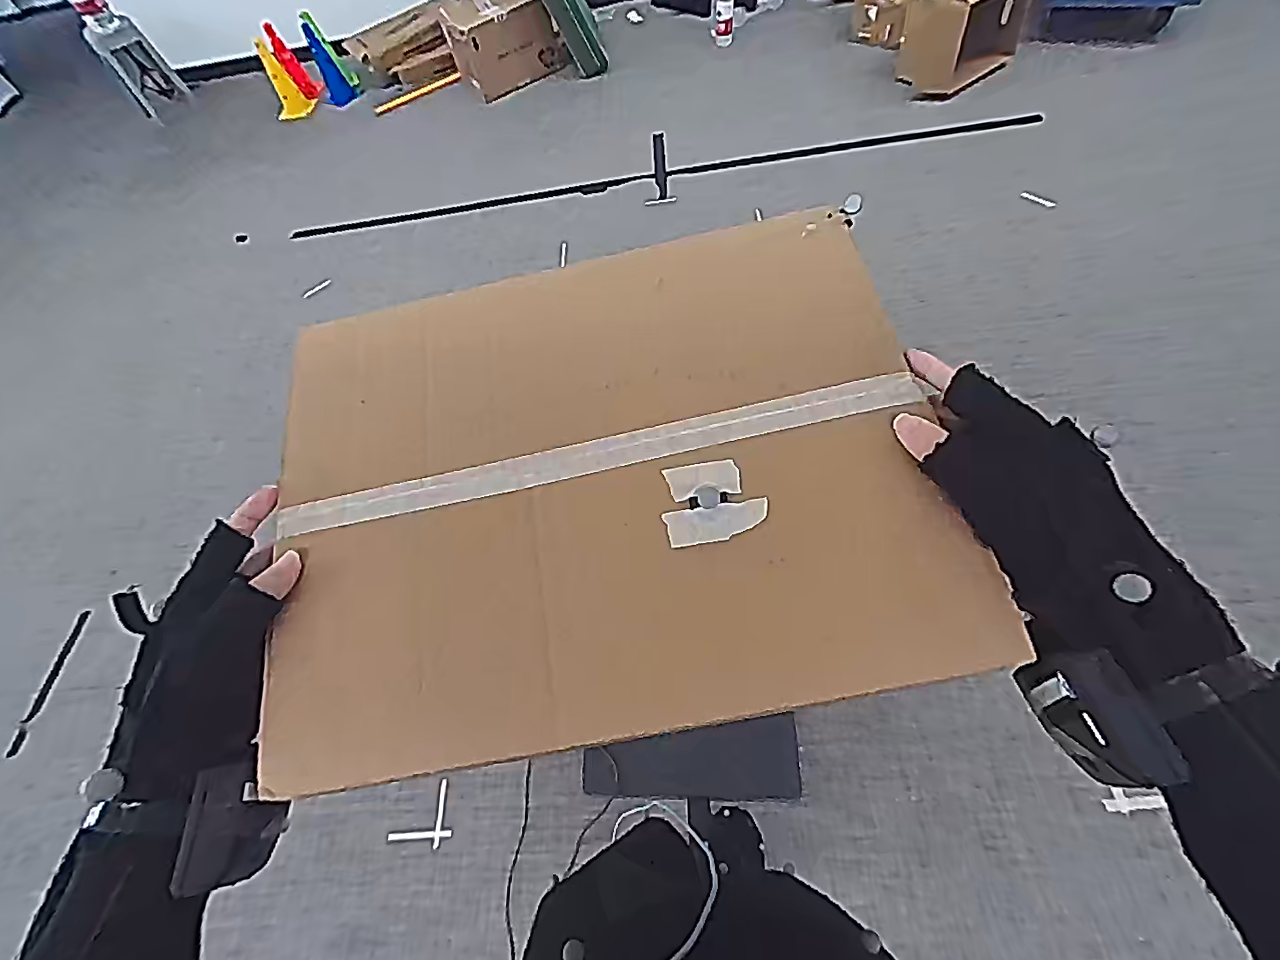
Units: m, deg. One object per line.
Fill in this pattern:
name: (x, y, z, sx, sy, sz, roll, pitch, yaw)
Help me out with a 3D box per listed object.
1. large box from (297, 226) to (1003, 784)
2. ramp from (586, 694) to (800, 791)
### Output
large box: (-0.008, 0.046, 0.487, 0.408, 0.320, 0.320, -12, 68, 3)
ramp: (0.113, 0.230, 1.386, 0.509, 0.206, 0.991, -4, 60, 6)
